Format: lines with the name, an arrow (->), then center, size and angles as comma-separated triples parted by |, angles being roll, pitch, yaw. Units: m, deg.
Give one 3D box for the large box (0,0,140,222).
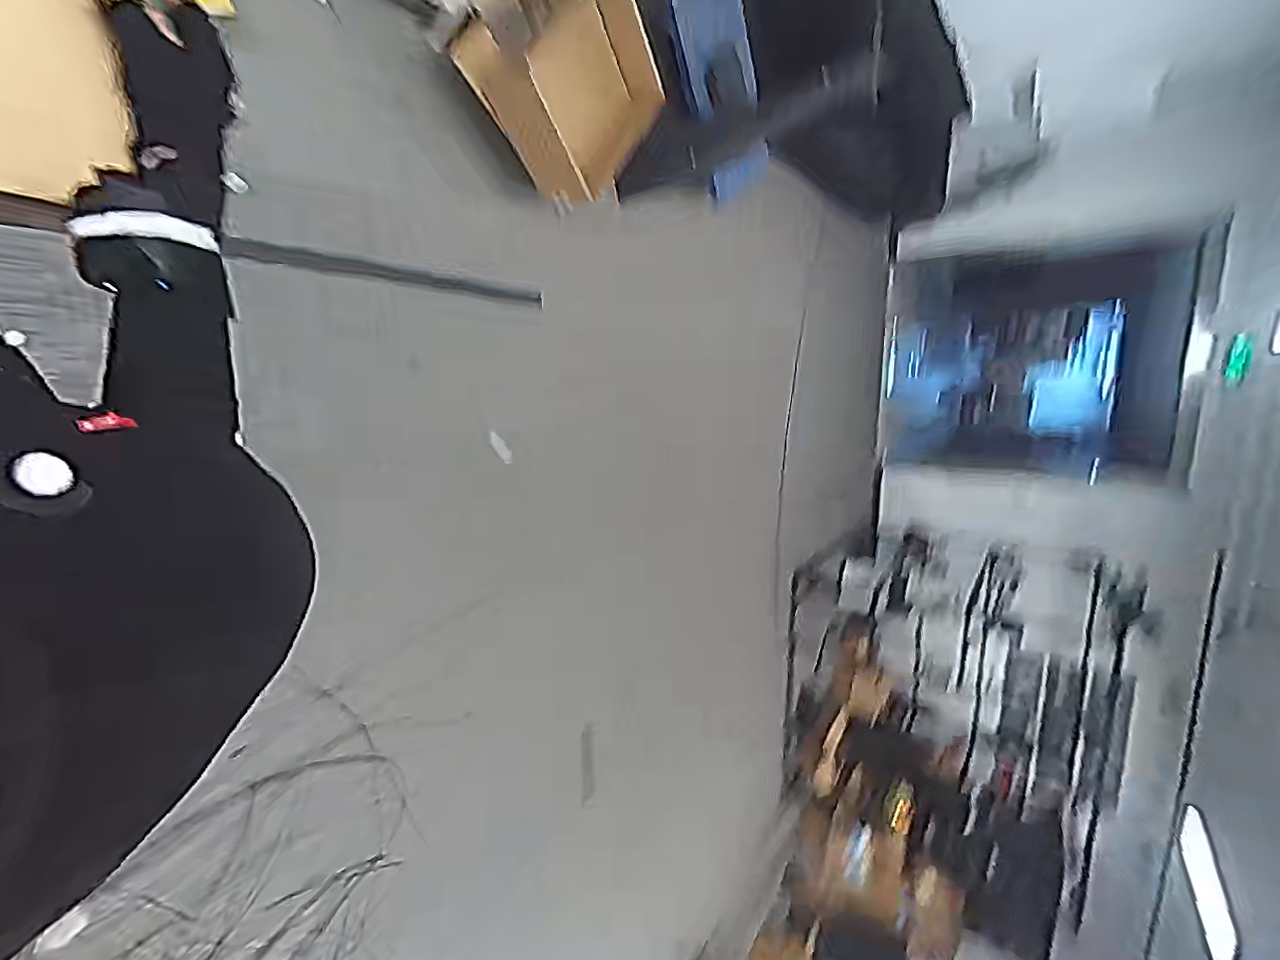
large box -> -0.595, -0.358, 0.292 | 0.408, 0.320, 0.320 | -11, 113, -56
